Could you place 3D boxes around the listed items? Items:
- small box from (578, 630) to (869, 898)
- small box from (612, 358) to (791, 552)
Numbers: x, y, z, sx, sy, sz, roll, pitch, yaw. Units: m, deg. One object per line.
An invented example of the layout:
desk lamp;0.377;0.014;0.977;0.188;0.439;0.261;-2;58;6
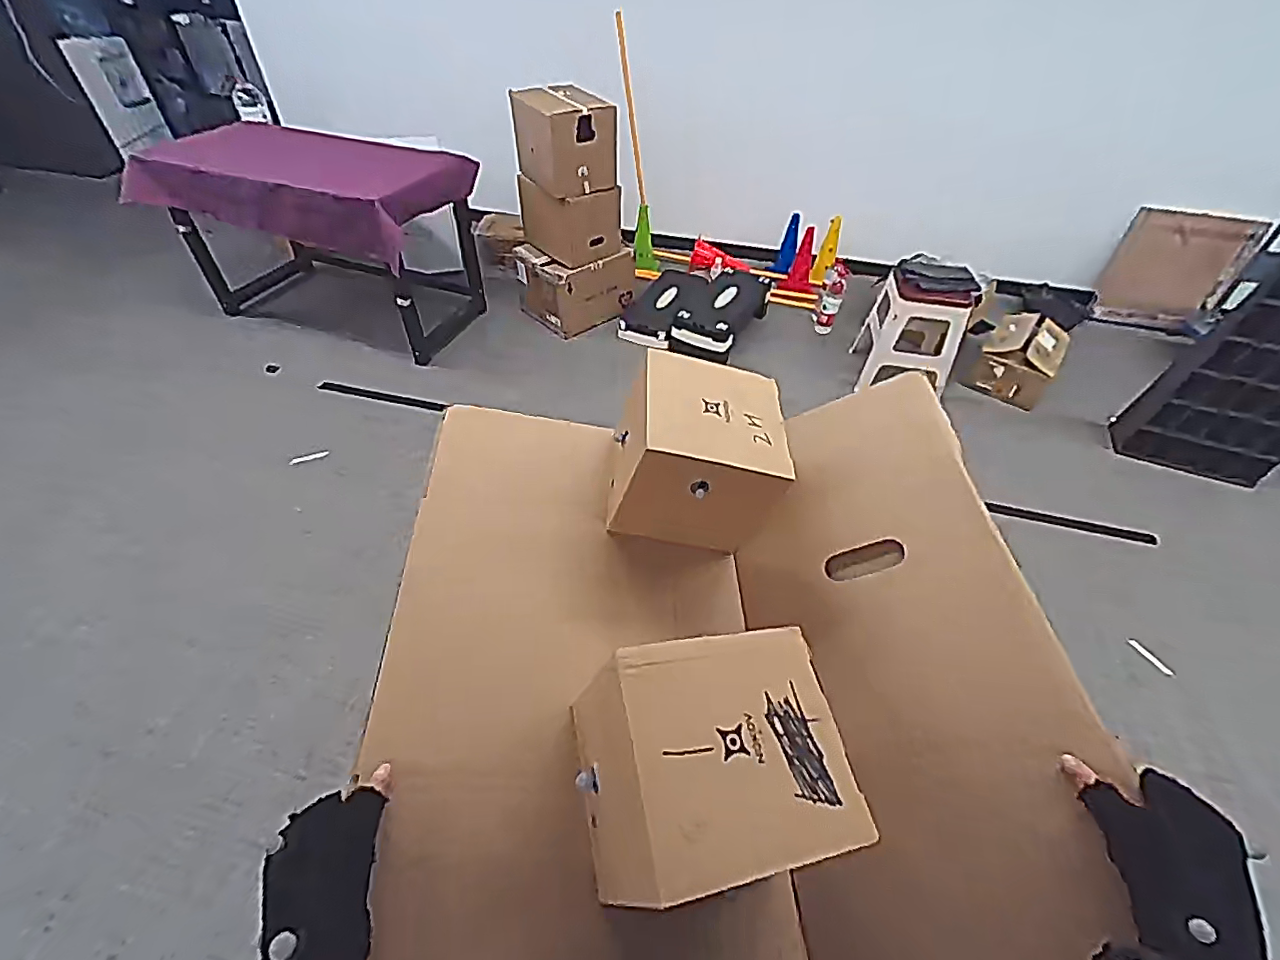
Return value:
small box;0.055;0.248;0.480;0.179;0.176;0.168;0;54;-20
small box;0.068;-0.024;0.698;0.179;0.176;0.168;12;51;-12
